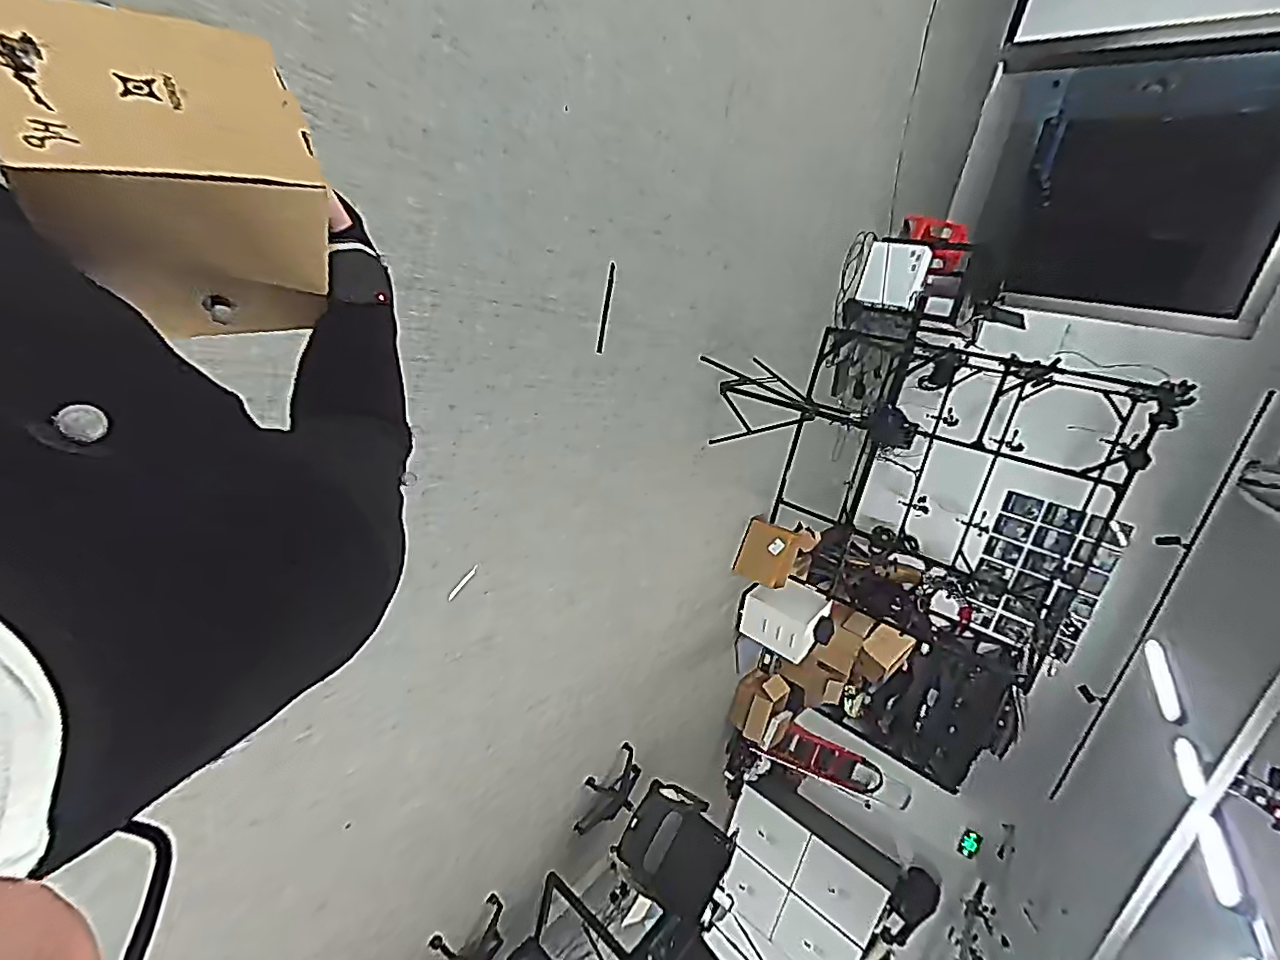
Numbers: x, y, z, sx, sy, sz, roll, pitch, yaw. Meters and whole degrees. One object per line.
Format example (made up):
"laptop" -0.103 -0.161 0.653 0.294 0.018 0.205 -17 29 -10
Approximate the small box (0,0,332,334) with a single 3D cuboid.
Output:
"small box" -0.388 -0.246 0.466 0.179 0.168 0.176 -18 163 -36
